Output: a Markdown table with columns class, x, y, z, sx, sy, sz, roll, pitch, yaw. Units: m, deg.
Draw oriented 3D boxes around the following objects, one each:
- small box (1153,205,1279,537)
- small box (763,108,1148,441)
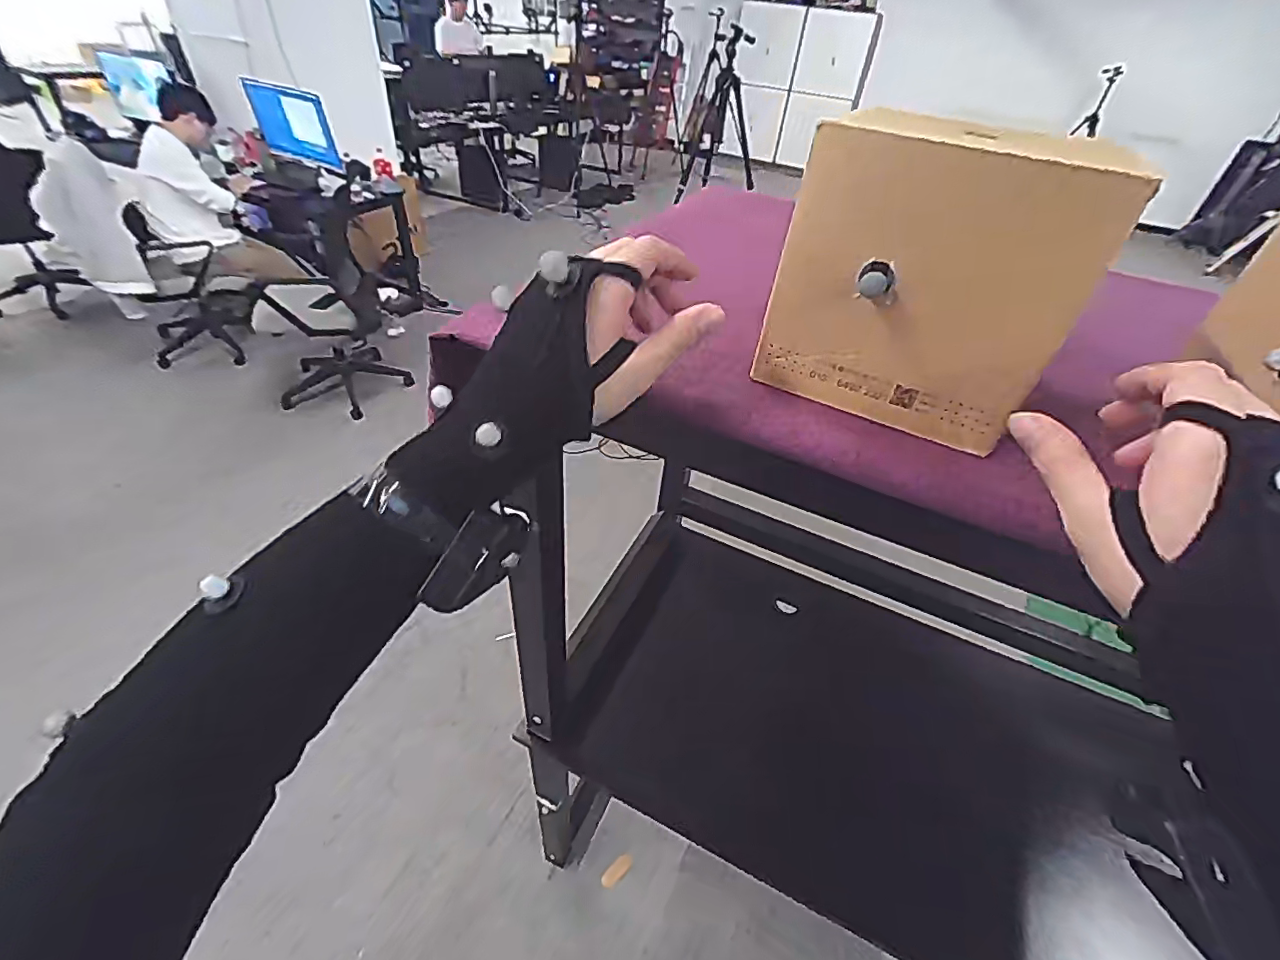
| class | x | y | z | sx | sy | sz | roll | pitch | yaw |
| --- | --- | --- | --- | --- | --- | --- | --- | --- | --- |
| small box | 0.450 | -0.055 | 0.306 | 0.179 | 0.176 | 0.168 | 19 | 42 | 15 |
| small box | 0.201 | -0.152 | 0.388 | 0.168 | 0.176 | 0.179 | 23 | 42 | 19 |
